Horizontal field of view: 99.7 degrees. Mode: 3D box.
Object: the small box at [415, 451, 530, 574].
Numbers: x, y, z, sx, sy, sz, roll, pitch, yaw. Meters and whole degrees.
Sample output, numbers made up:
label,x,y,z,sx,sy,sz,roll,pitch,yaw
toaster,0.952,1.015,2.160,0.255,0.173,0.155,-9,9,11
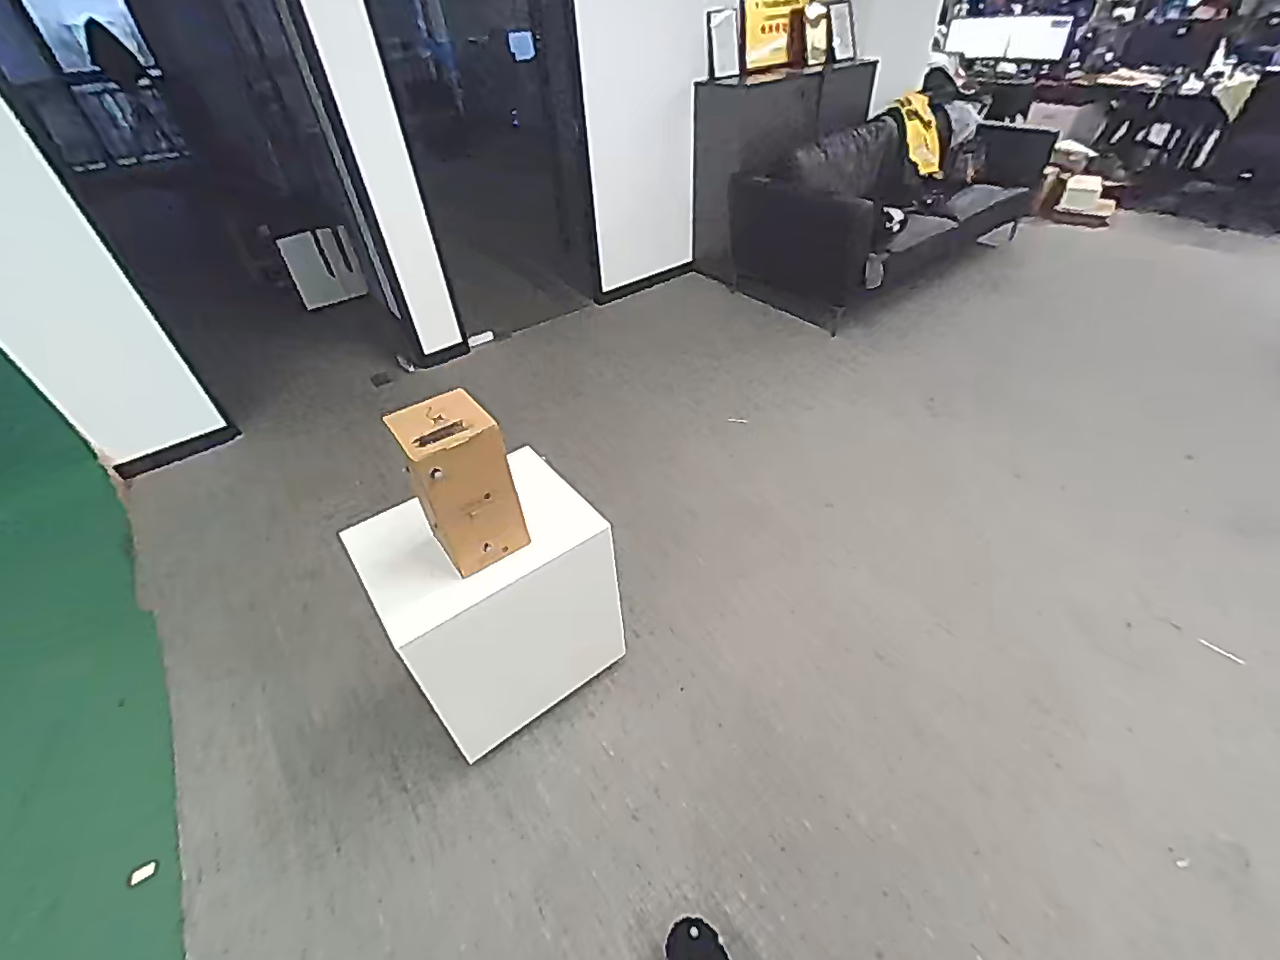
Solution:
label,x,y,z,sx,sy,sz,roll,pitch,yaw
small box,-0.361,0.070,1.178,0.168,0.176,0.179,-28,46,-25
